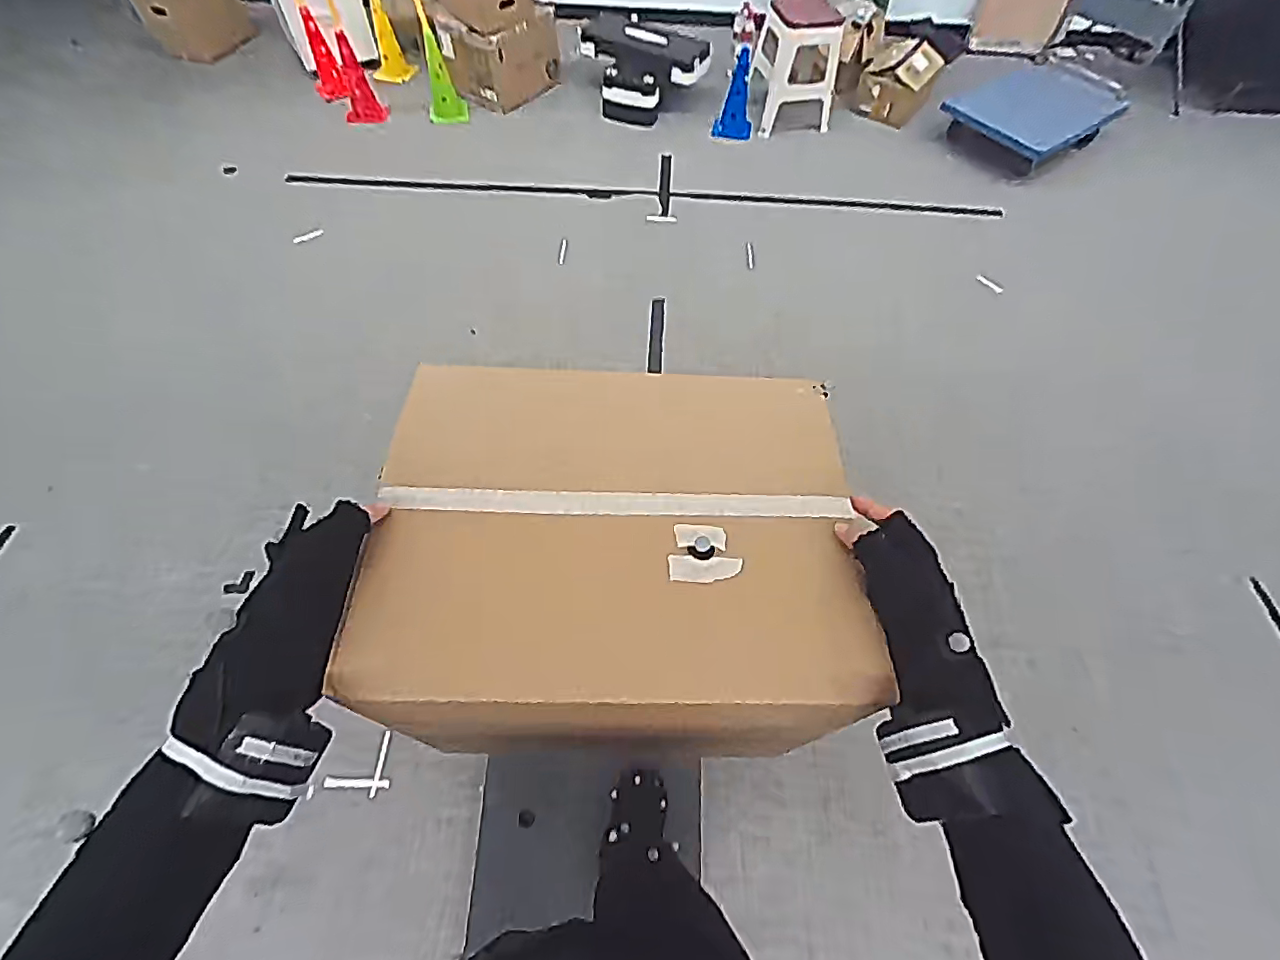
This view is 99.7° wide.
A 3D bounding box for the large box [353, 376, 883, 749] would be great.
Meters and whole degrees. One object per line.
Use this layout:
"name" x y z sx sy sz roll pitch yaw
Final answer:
"large box" -0.023 0.107 0.604 0.408 0.320 0.320 2 57 -3
